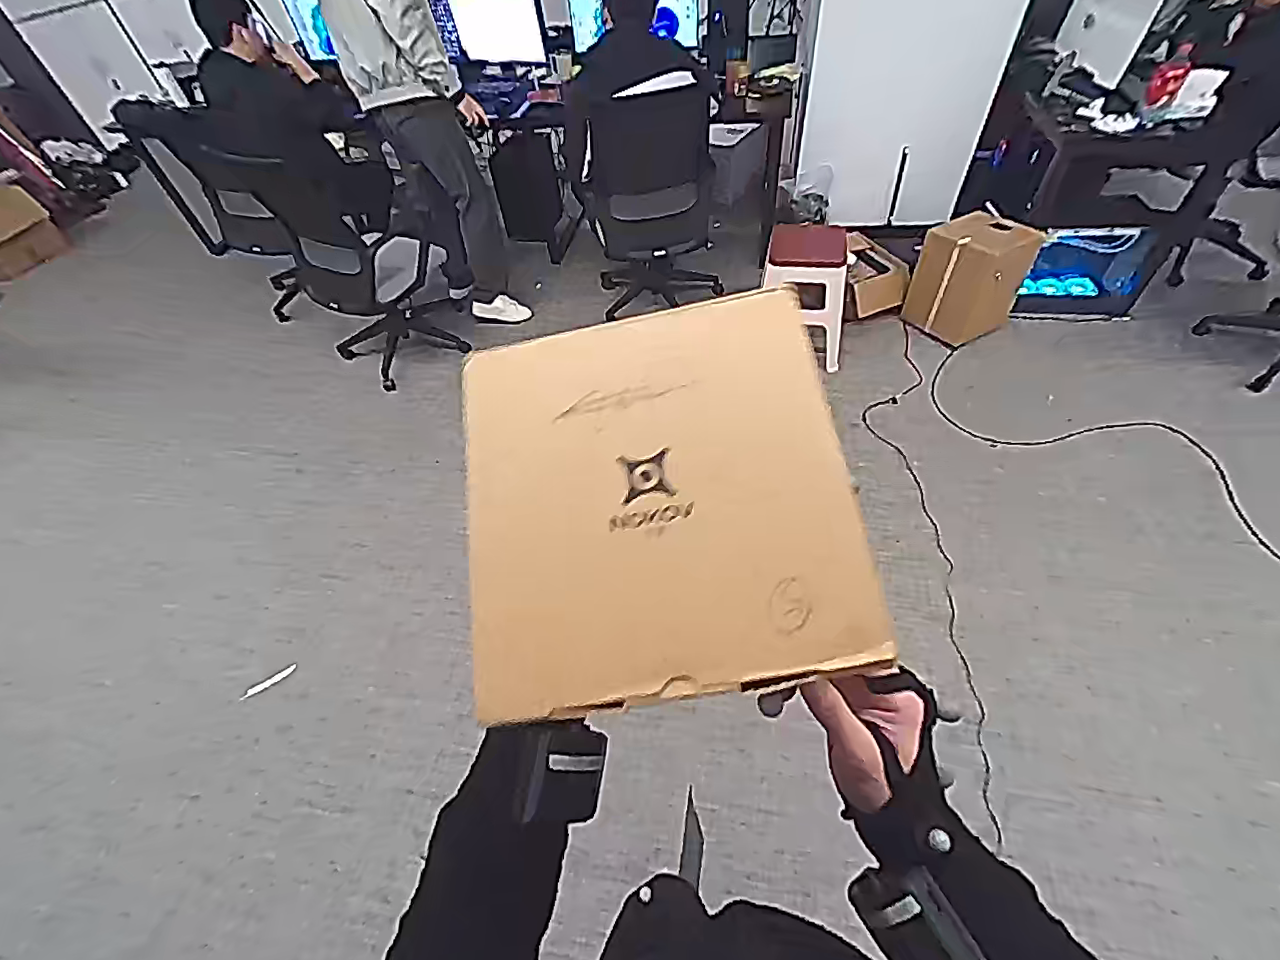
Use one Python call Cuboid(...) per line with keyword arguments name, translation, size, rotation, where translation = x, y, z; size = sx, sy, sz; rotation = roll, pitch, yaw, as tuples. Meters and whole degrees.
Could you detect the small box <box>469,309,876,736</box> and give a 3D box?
Cuboid(name="small box", translation=(0.016, 0.037, 0.321), size=(0.168, 0.176, 0.179), rotation=(-12, 69, 6))
